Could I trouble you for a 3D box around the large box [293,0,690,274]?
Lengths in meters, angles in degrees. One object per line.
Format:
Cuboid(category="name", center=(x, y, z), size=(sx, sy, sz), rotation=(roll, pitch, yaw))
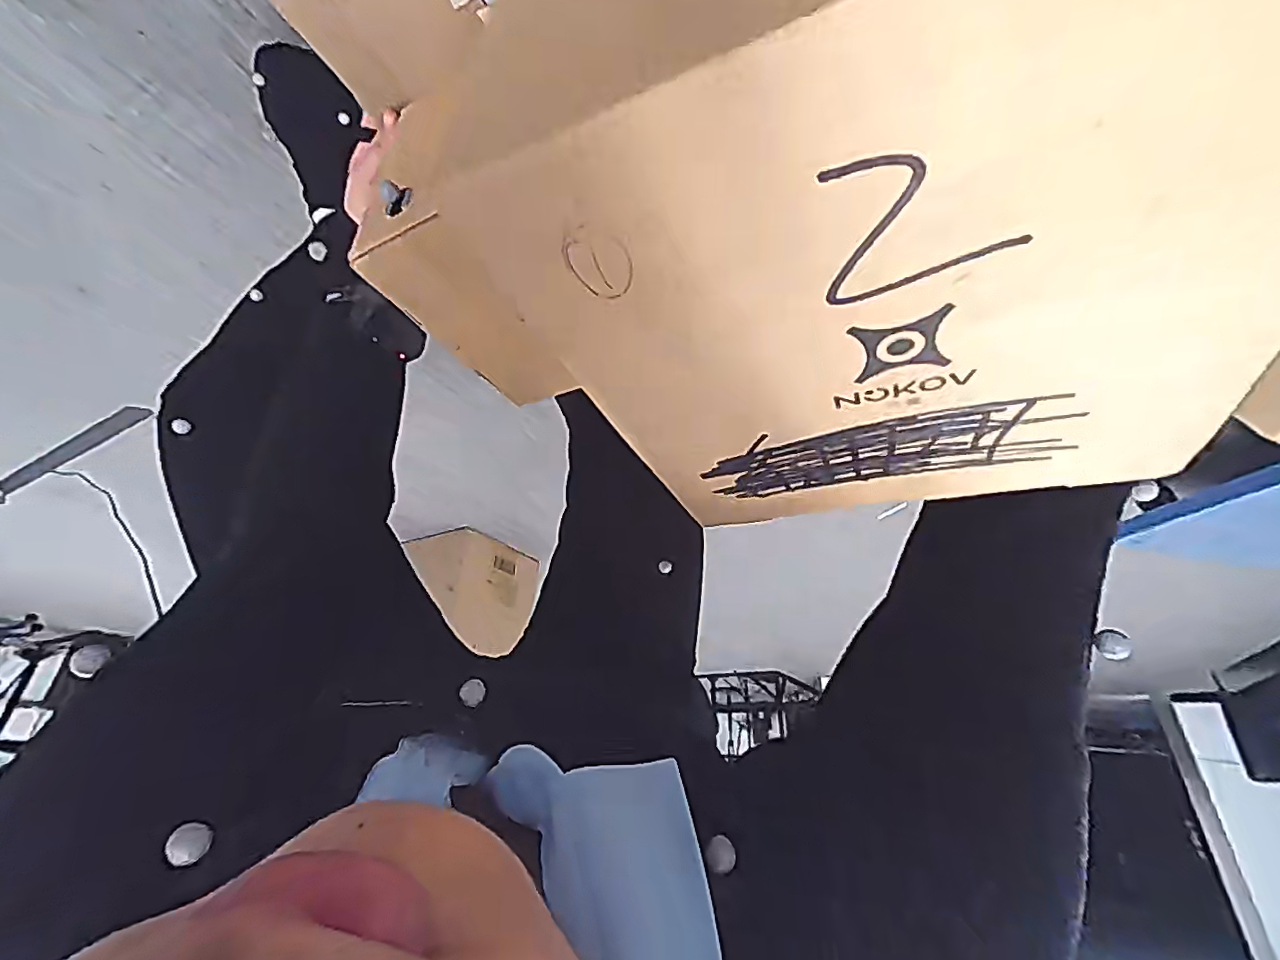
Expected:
Cuboid(category="large box", center=(0.000, -0.443, 0.416), size=(0.408, 0.320, 0.320), rotation=(-12, 148, 25))
